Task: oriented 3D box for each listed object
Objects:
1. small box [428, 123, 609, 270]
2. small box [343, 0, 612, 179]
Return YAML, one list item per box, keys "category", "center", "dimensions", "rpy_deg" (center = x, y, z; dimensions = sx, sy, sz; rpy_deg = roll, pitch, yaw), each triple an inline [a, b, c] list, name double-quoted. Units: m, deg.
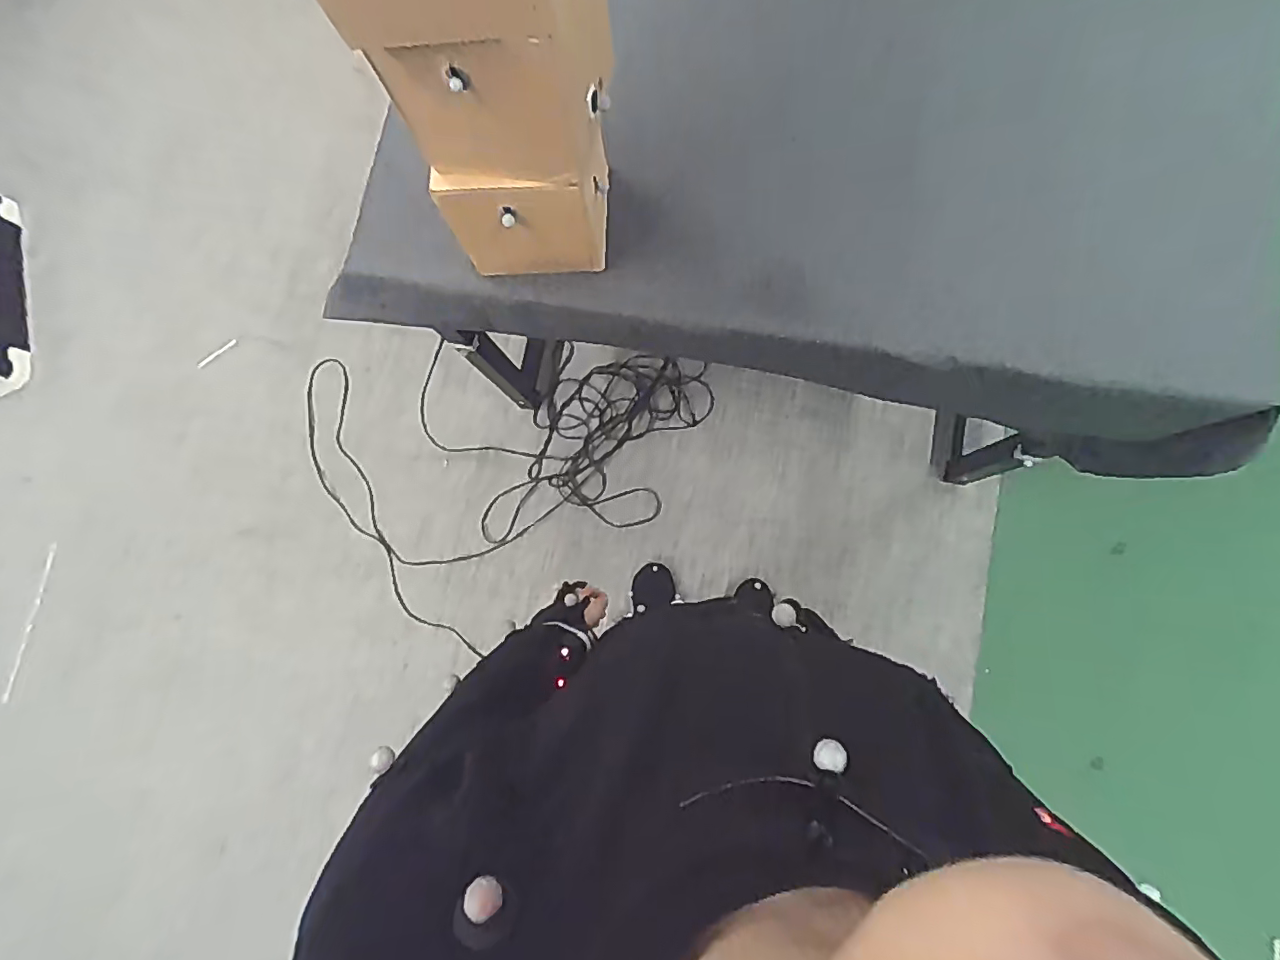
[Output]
- category: "small box"
  center: [-0.136, -0.380, 0.674]
  dimensions: [0.179, 0.176, 0.168]
  rpy_deg: [0, 80, 6]
- category: "small box"
  center: [-0.135, -0.420, 0.516]
  dimensions: [0.179, 0.176, 0.168]
  rpy_deg: [9, 82, 6]
